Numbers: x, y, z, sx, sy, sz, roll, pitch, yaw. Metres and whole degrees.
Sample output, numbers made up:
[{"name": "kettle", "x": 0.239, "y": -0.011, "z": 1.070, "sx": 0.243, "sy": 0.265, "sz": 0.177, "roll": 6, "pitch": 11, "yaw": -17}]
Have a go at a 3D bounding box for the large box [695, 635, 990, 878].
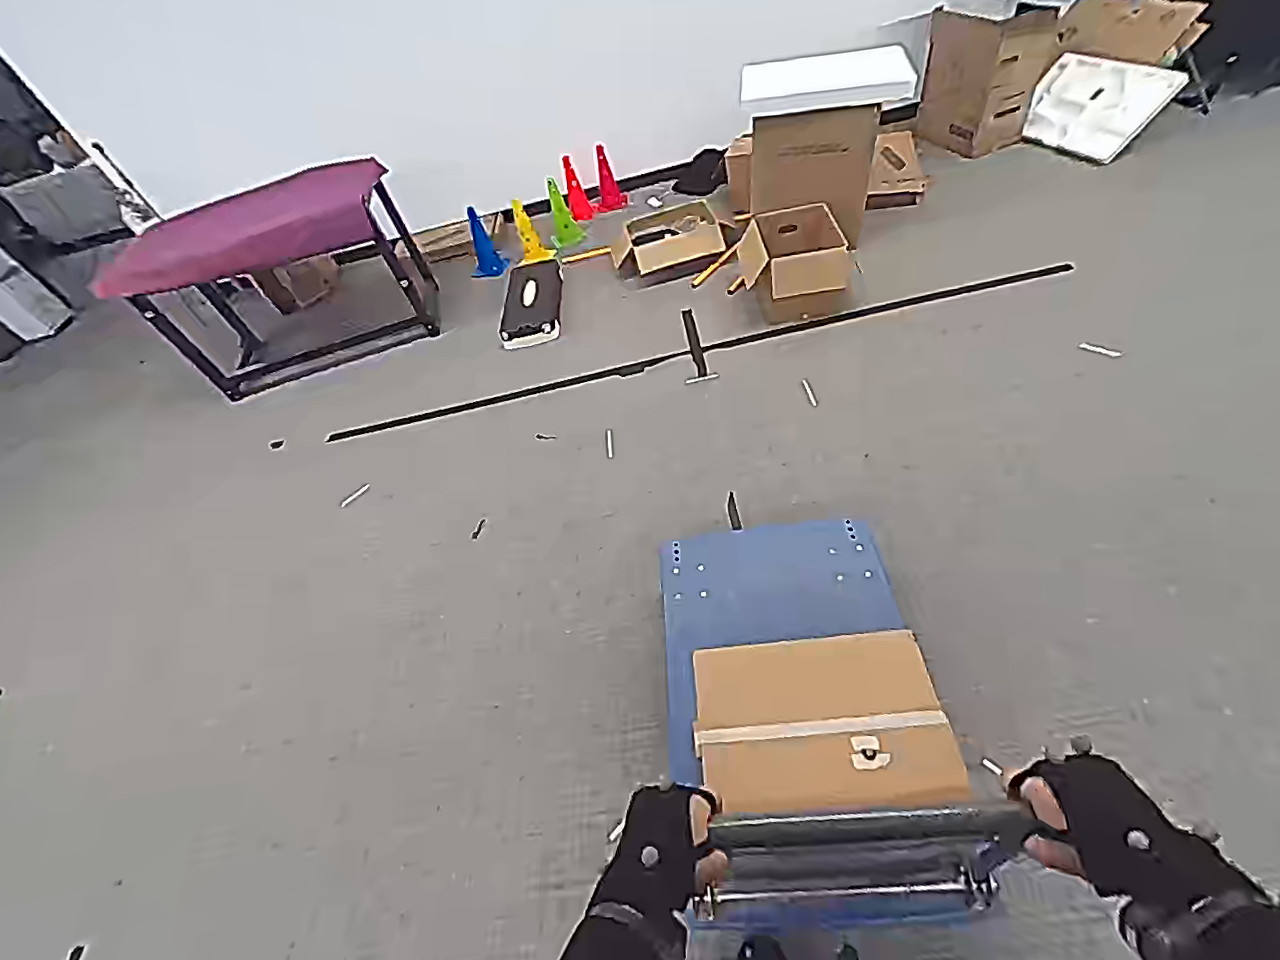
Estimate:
[{"name": "large box", "x": 0.326, "y": 0.518, "z": 0.998, "sx": 0.408, "sy": 0.320, "sz": 0.320, "roll": -8, "pitch": 49, "yaw": 6}]
